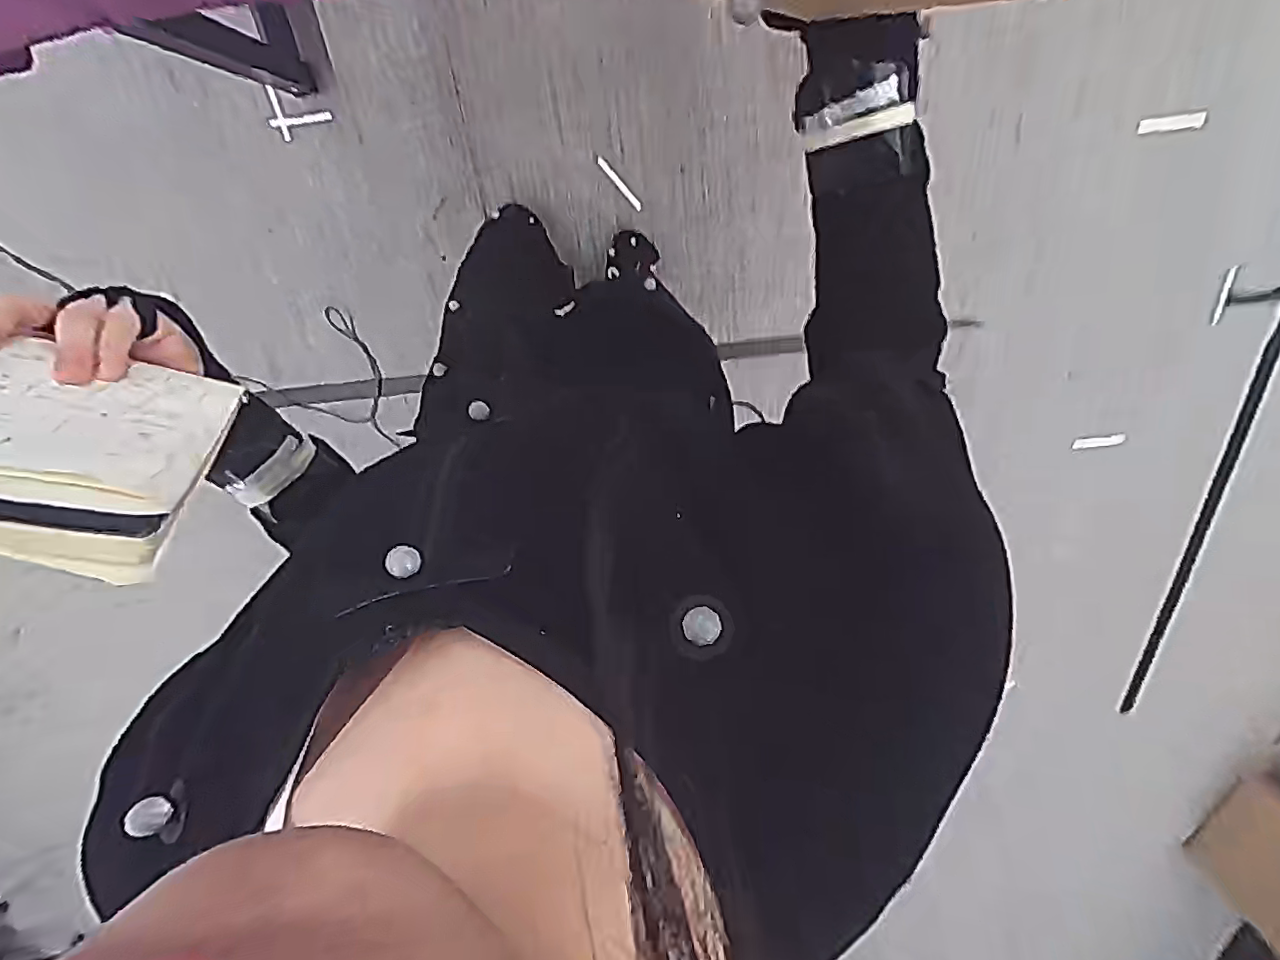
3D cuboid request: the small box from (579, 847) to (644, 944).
[{"bbox_3d":[-0.080,1.201,1.569,0.179,0.176,0.168,-4,118,-2],"label":"small box"}]
